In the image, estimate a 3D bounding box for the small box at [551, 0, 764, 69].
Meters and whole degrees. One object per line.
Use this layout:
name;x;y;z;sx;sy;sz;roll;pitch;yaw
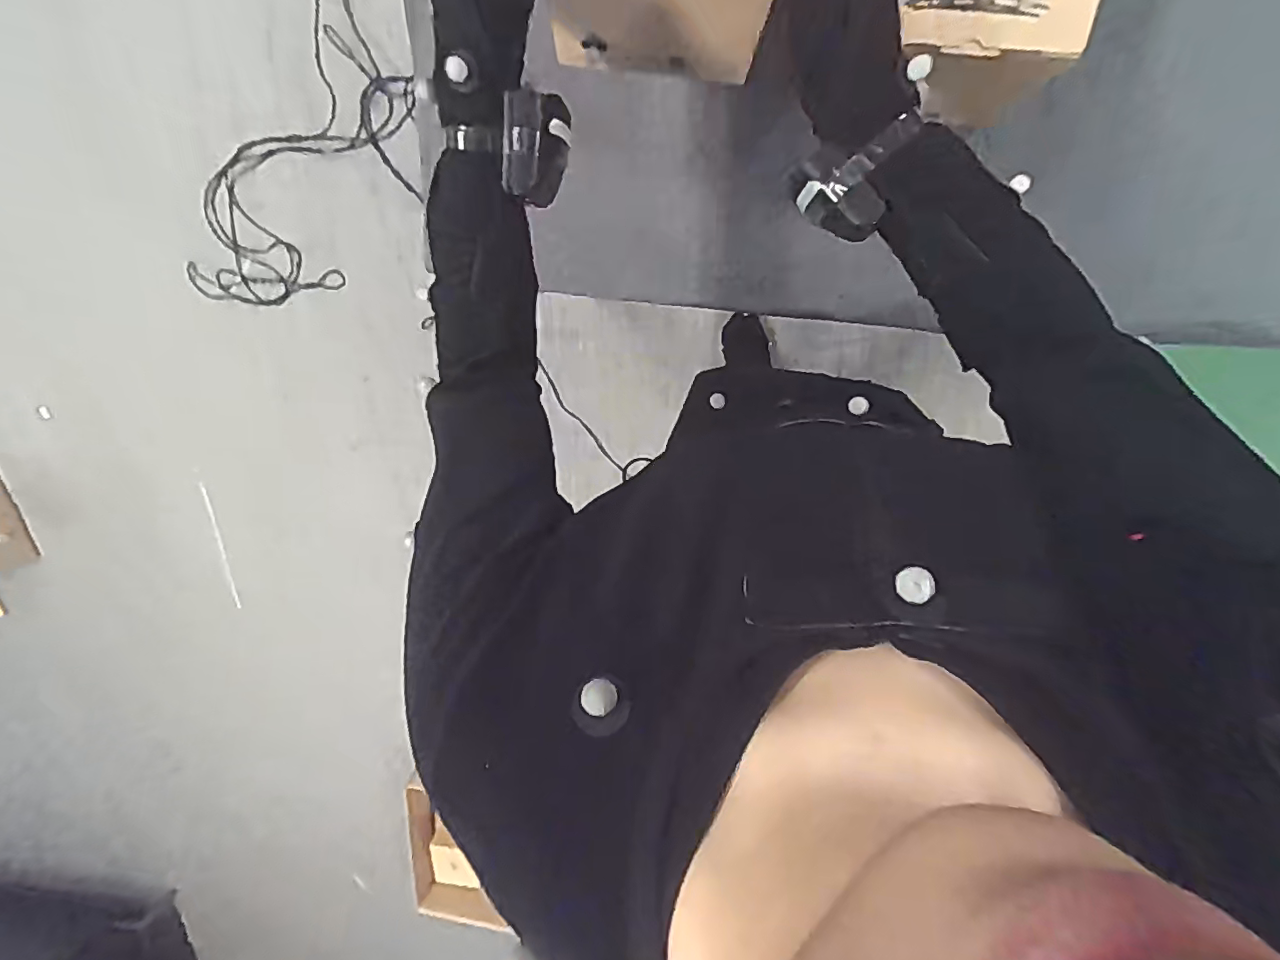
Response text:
small box;0.019;-0.434;0.378;0.168;0.176;0.179;4;95;-3

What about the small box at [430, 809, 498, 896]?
small box;-0.610;1.304;1.899;0.168;0.176;0.179;2;108;9
